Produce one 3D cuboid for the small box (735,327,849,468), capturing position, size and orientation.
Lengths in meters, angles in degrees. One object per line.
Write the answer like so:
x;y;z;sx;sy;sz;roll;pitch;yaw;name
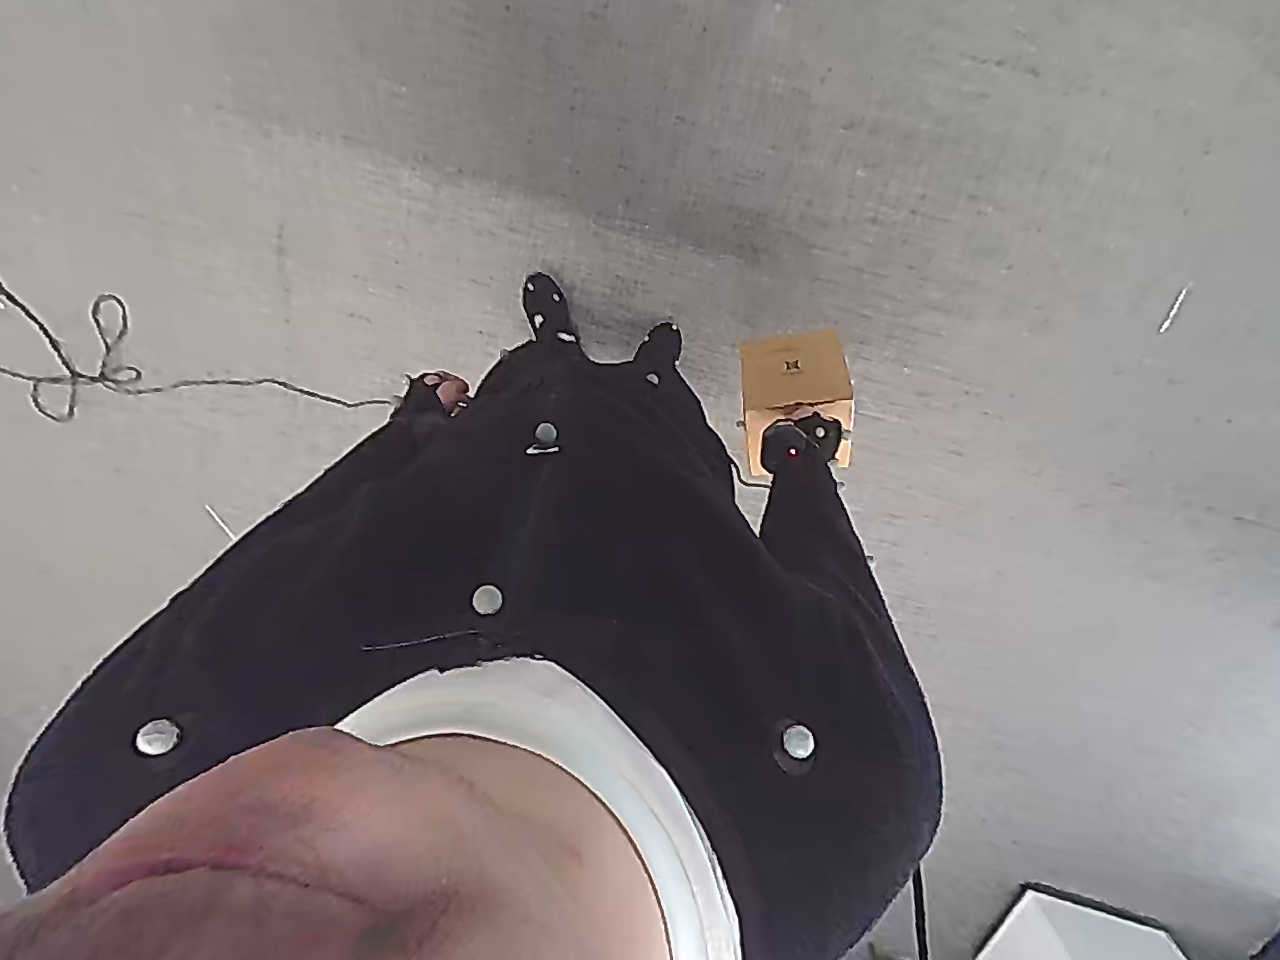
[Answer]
0.254;-0.132;0.930;0.168;0.179;0.176;-4;142;10;small box
